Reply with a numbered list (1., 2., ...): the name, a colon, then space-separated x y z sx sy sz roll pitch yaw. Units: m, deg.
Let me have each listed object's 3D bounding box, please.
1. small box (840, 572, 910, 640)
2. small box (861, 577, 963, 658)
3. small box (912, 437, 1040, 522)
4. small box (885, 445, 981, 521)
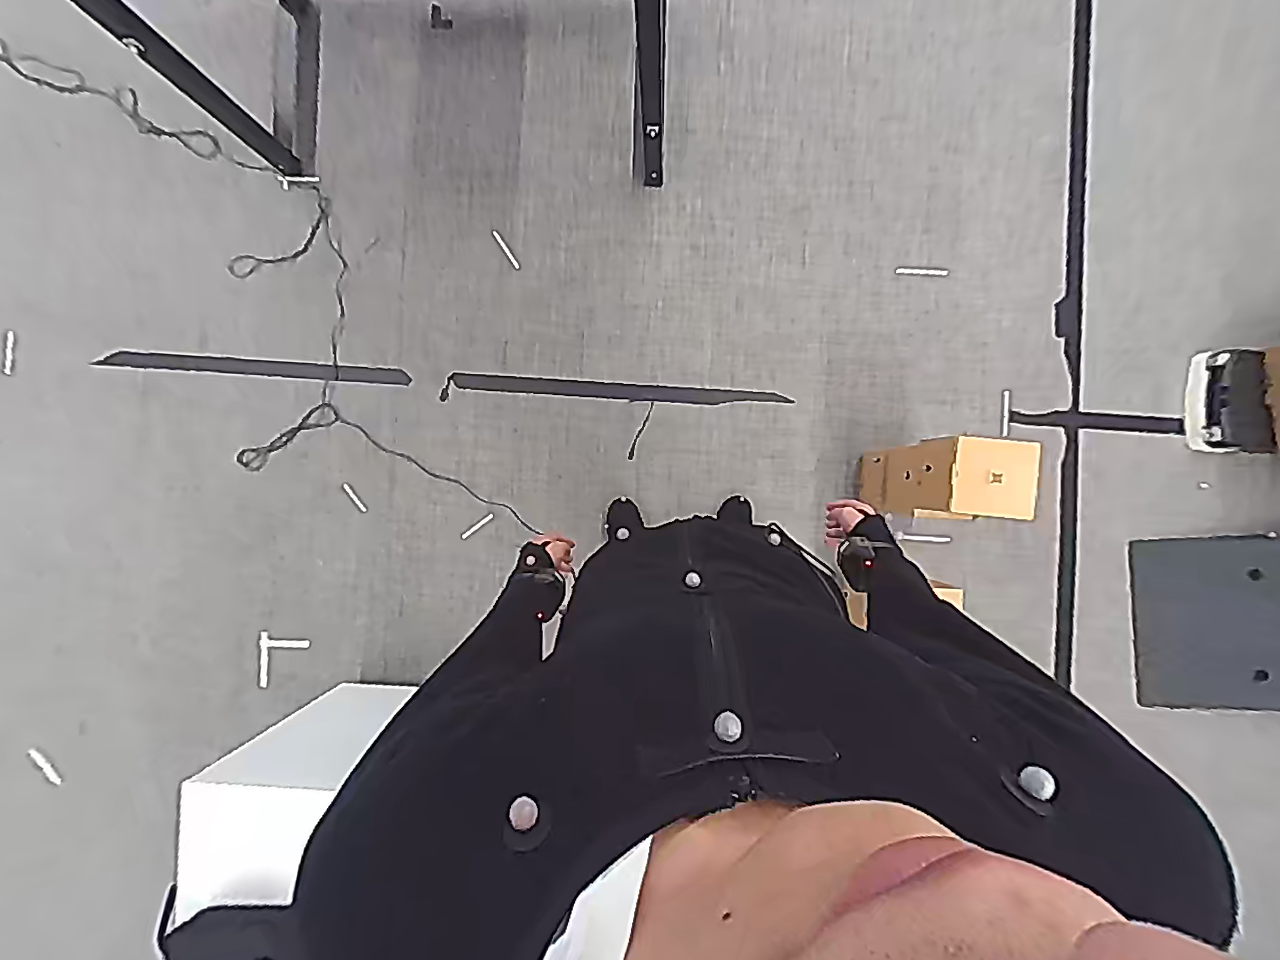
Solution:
1. small box: 0.688 0.356 1.542 0.179 0.176 0.168 1 89 3
2. small box: 0.686 0.343 1.377 0.179 0.176 0.168 3 89 2
3. small box: 0.744 -0.003 1.212 0.179 0.176 0.168 5 91 2
4. small box: 0.742 0.007 1.374 0.168 0.176 0.179 3 91 2
